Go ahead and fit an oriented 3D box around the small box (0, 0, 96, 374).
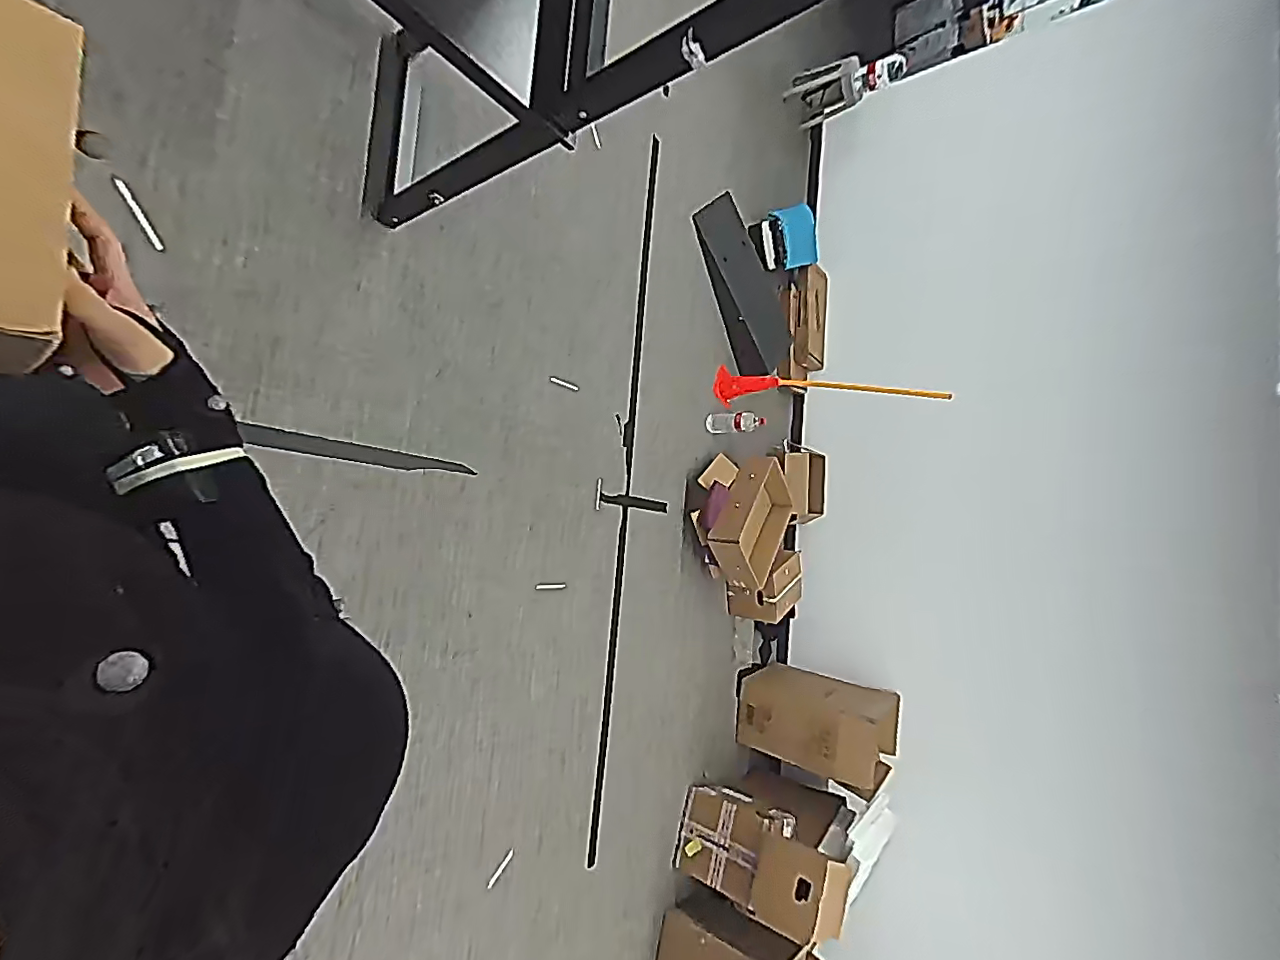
[{"bbox_3d":[-0.417,-0.163,0.278,0.168,0.176,0.179,5,87,-53],"label":"small box"}]
